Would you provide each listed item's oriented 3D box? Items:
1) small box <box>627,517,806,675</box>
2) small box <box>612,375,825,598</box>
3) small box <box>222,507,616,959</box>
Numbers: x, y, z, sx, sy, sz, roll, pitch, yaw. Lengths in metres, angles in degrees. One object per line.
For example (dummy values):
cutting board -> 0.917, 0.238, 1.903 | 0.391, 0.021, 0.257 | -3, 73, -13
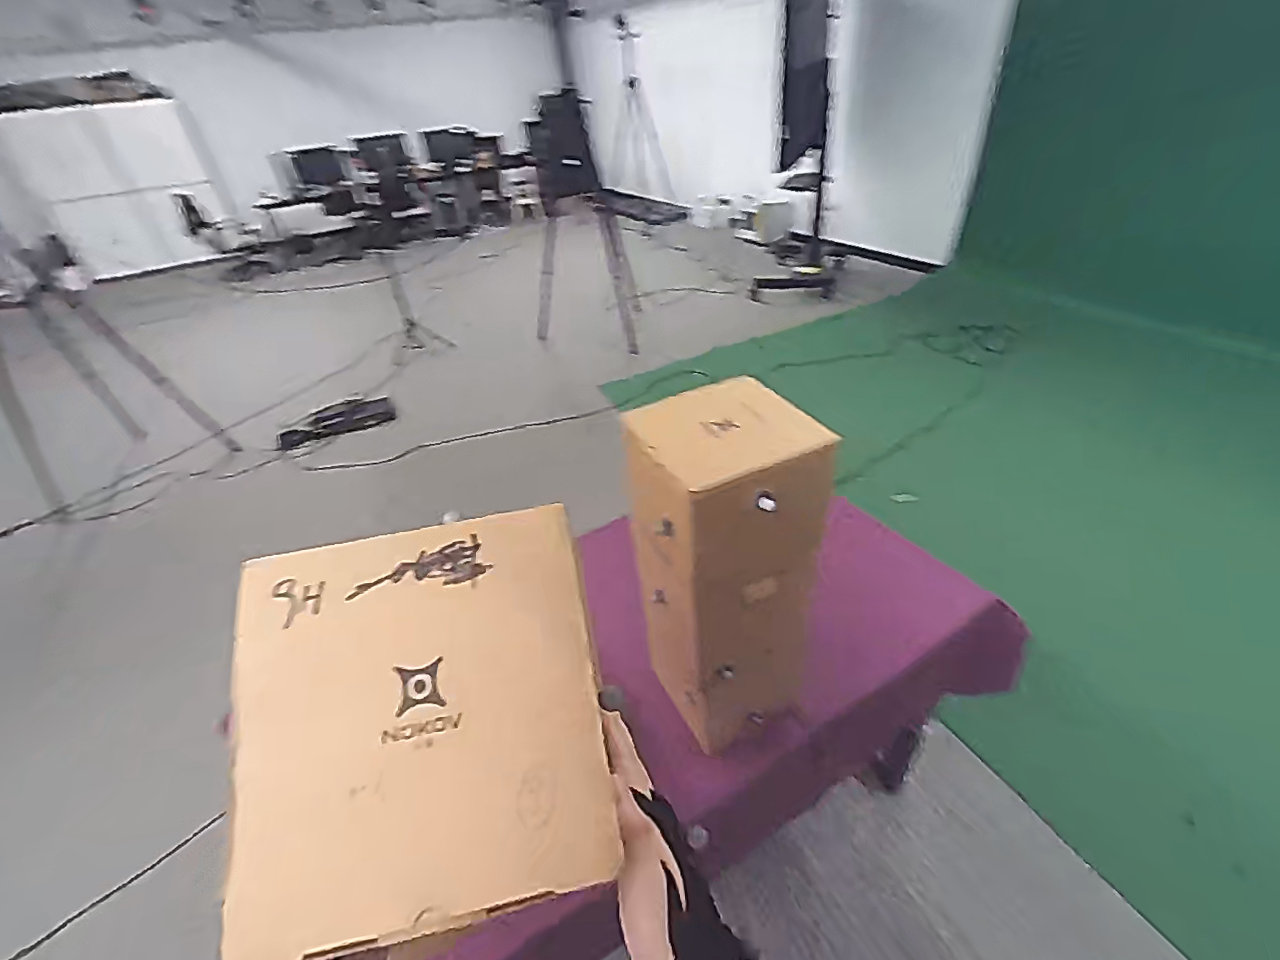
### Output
small box -> 0.100, 0.133, 0.726 | 0.168, 0.176, 0.179 | -21, 38, -17
small box -> 0.087, 0.006, 0.624 | 0.179, 0.176, 0.168 | -20, 40, -16
small box -> -0.108, 0.134, 0.330 | 0.168, 0.176, 0.179 | -10, 70, -5
